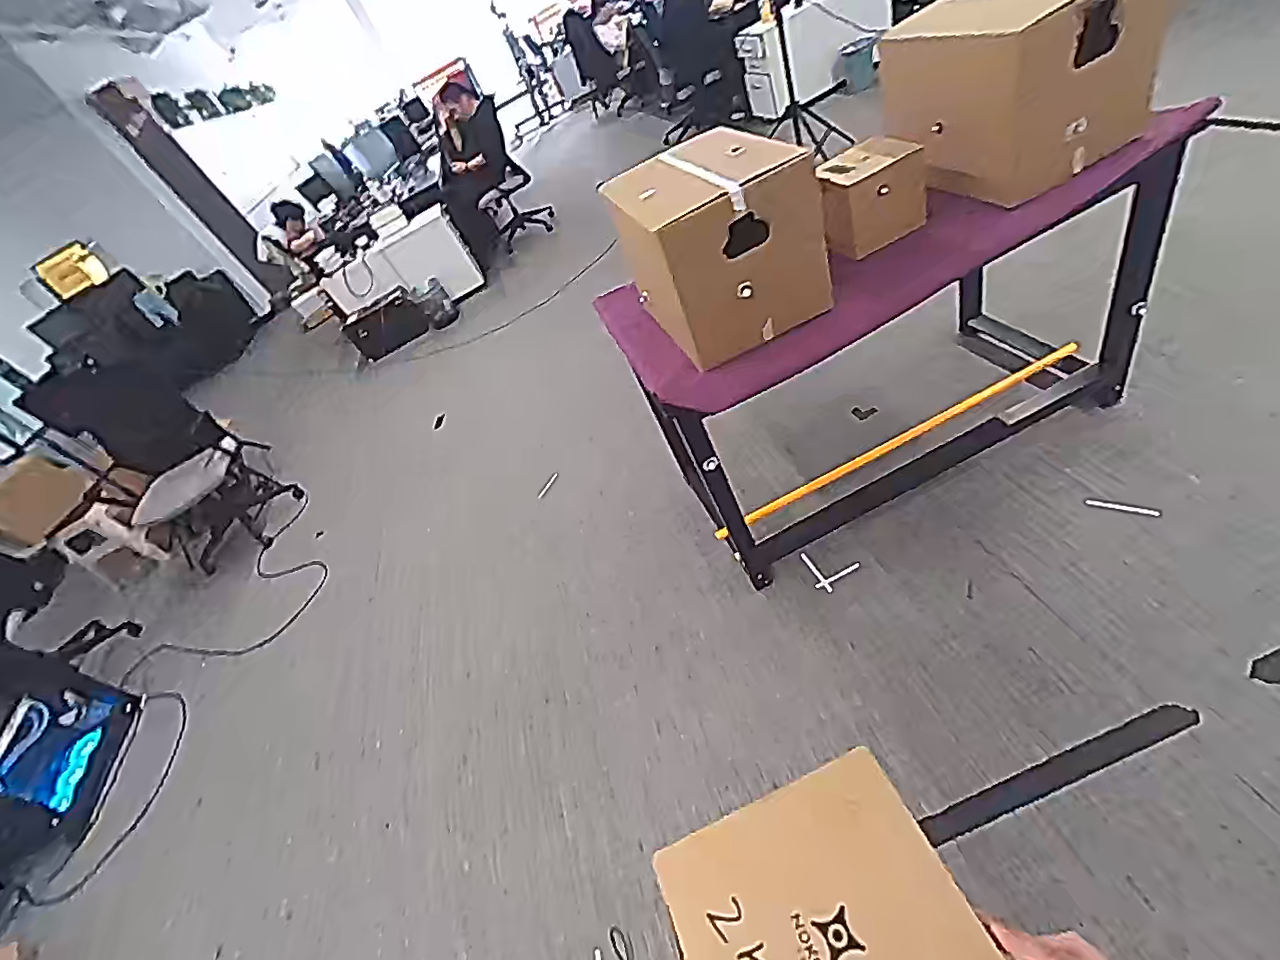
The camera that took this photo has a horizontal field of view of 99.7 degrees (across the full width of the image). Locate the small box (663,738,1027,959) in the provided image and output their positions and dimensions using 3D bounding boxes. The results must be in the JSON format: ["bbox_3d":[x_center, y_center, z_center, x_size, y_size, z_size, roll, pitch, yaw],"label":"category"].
[{"bbox_3d":[0.140,0.318,0.382,0.179,0.176,0.168,-26,46,-1],"label":"small box"}]

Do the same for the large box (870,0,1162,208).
[{"bbox_3d":[0.767,-0.833,1.157,0.320,0.320,0.408,-28,40,1],"label":"large box"}]
